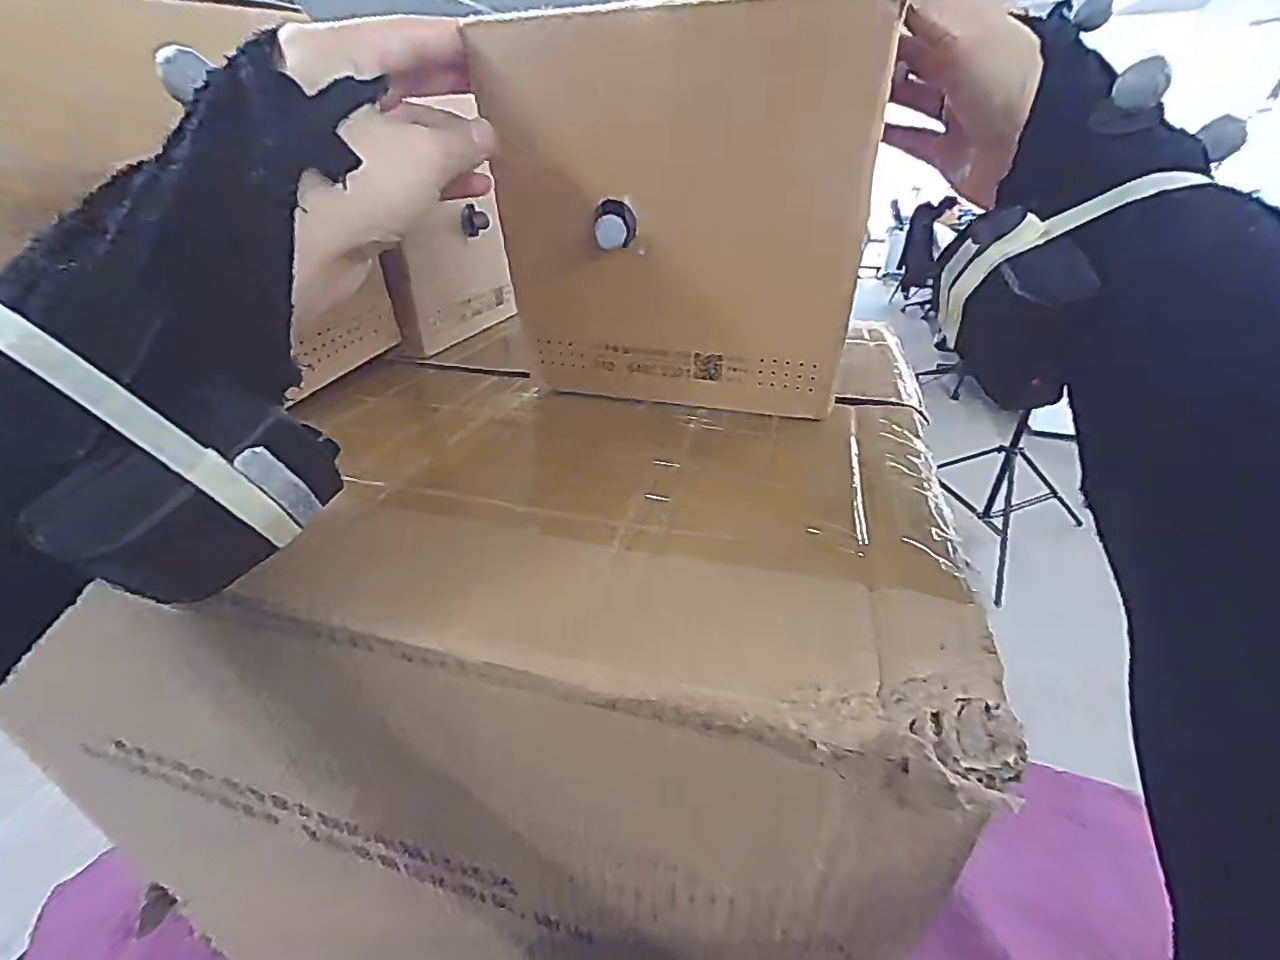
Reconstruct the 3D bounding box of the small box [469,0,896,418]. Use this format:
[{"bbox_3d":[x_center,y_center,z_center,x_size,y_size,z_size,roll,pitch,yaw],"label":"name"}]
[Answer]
[{"bbox_3d":[0.038,-0.151,0.306,0.168,0.176,0.179,8,40,16],"label":"small box"}]
